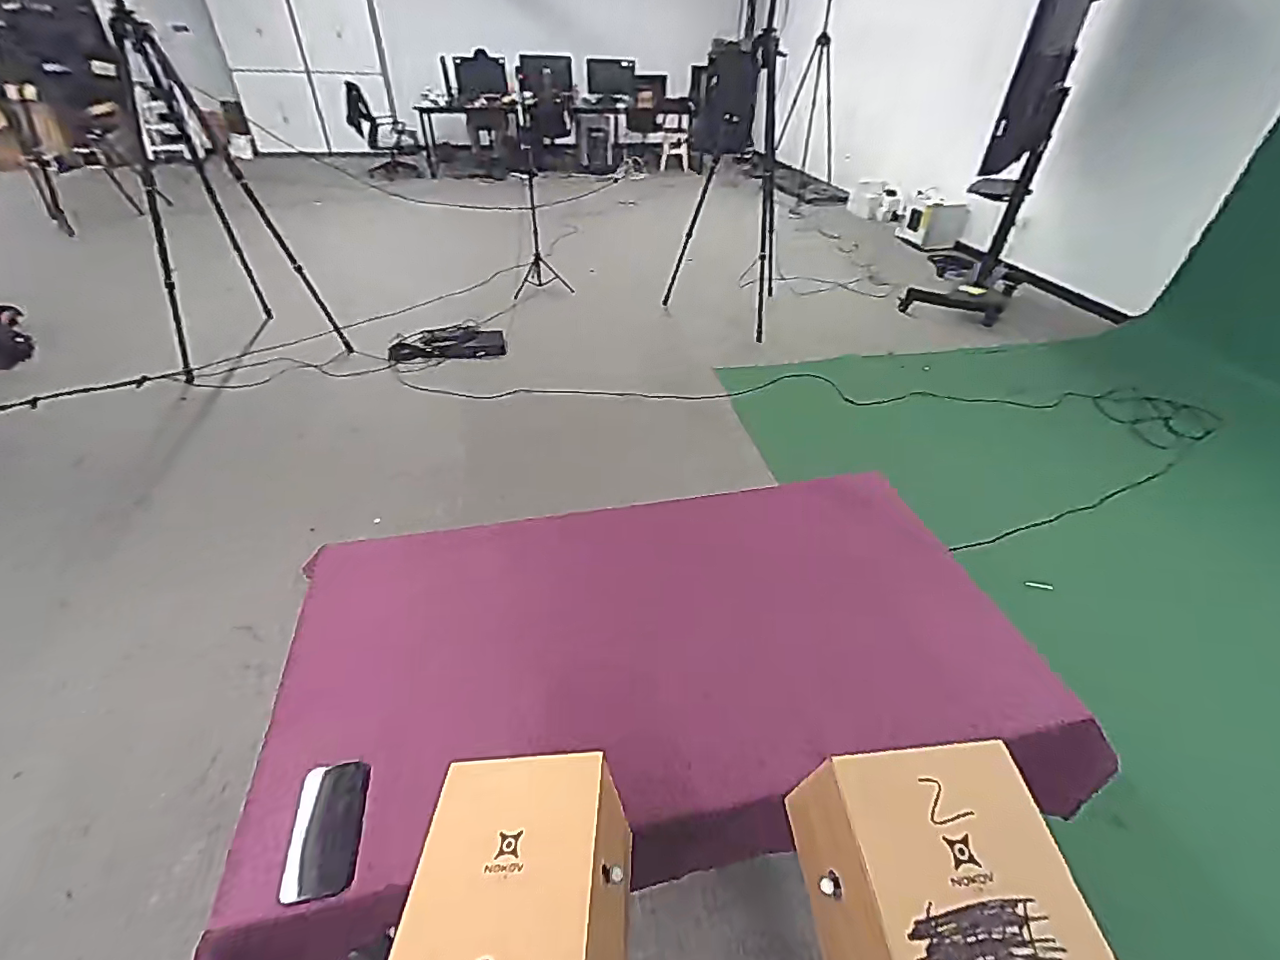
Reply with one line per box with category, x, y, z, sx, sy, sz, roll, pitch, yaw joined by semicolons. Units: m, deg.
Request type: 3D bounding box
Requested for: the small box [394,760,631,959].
small box;-0.105;0.409;0.533;0.168;0.176;0.179;-8;33;6
